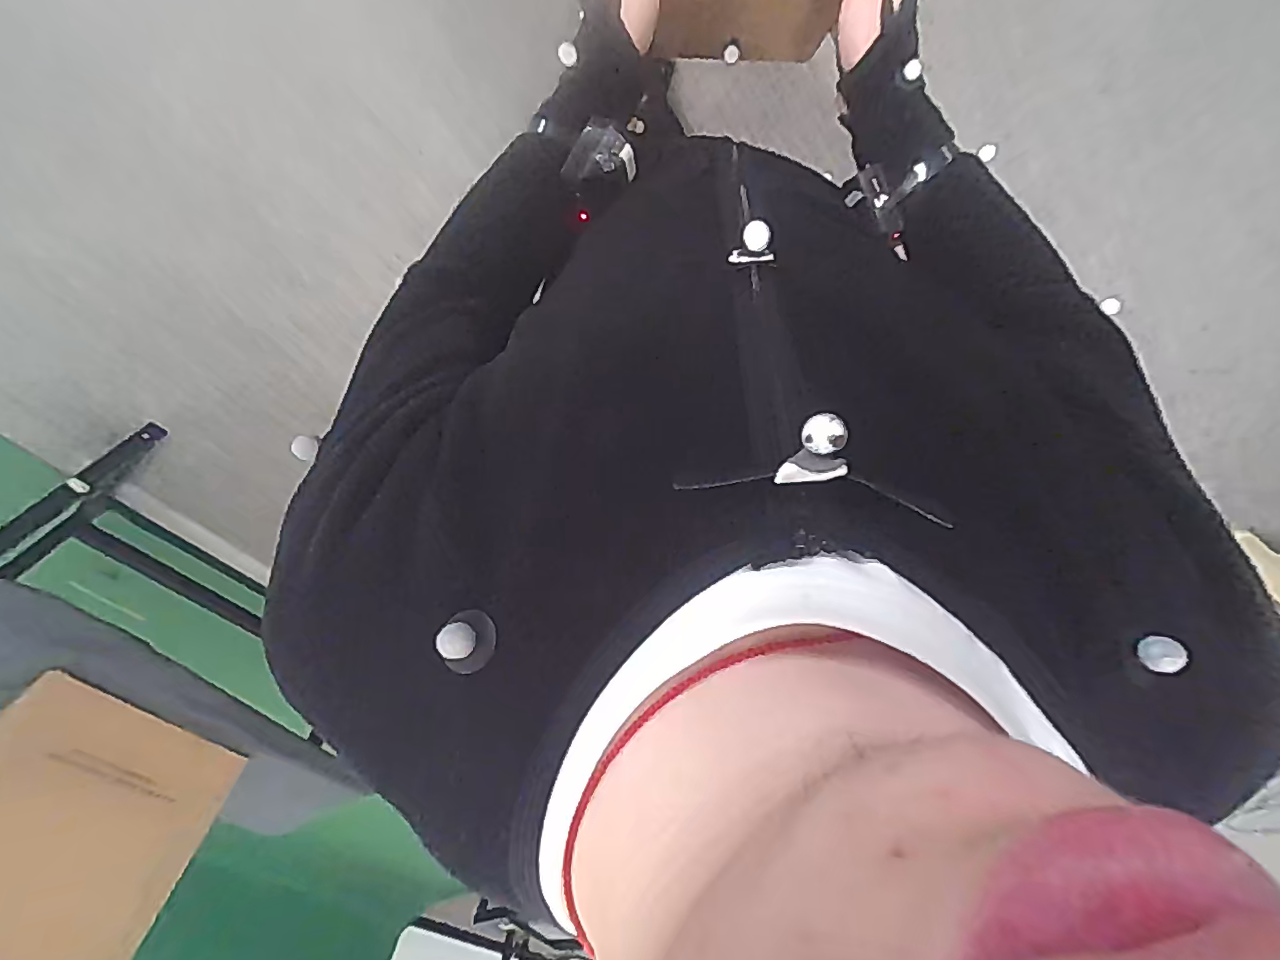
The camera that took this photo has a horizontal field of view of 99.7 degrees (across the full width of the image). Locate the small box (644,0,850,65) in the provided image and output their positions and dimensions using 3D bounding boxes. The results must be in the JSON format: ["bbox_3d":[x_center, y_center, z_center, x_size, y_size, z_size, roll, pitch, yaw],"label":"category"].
[{"bbox_3d":[0.094,-0.492,0.468,0.179,0.176,0.168,2,106,0],"label":"small box"}]
